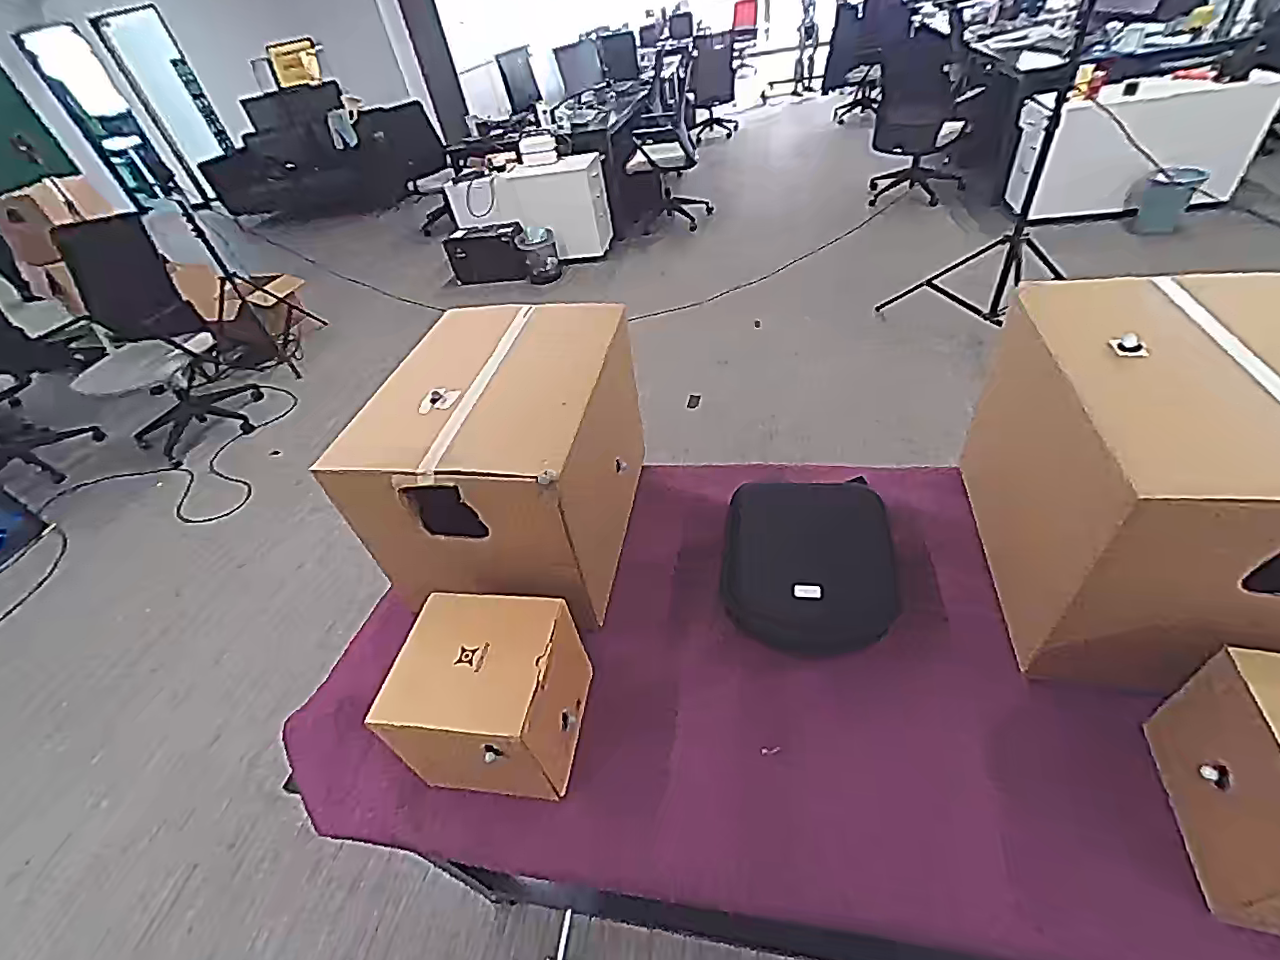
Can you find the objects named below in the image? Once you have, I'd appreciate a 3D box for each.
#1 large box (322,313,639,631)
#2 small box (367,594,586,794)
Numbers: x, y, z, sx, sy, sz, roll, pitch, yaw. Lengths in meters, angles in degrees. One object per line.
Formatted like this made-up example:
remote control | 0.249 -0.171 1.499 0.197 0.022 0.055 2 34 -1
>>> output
large box | -0.189 -0.025 0.856 0.320 0.320 0.408 1 45 11
small box | -0.178 0.256 0.651 0.179 0.176 0.168 0 42 11
